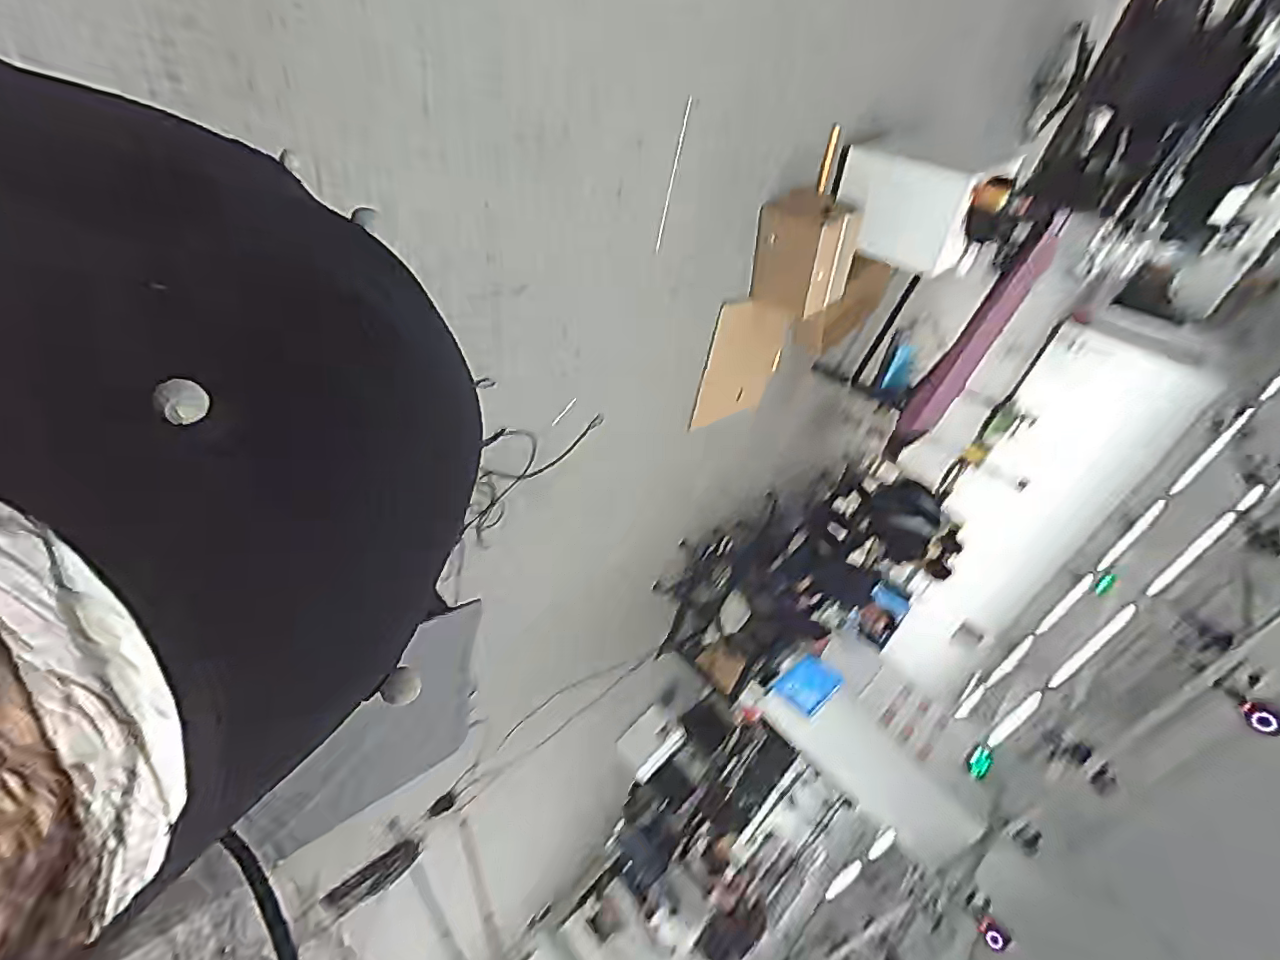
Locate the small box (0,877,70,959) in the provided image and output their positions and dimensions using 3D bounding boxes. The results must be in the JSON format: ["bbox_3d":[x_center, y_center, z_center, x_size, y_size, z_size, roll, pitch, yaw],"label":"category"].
[{"bbox_3d":[-0.952,0.718,0.767,0.168,0.176,0.179,-22,139,-40],"label":"small box"}]
